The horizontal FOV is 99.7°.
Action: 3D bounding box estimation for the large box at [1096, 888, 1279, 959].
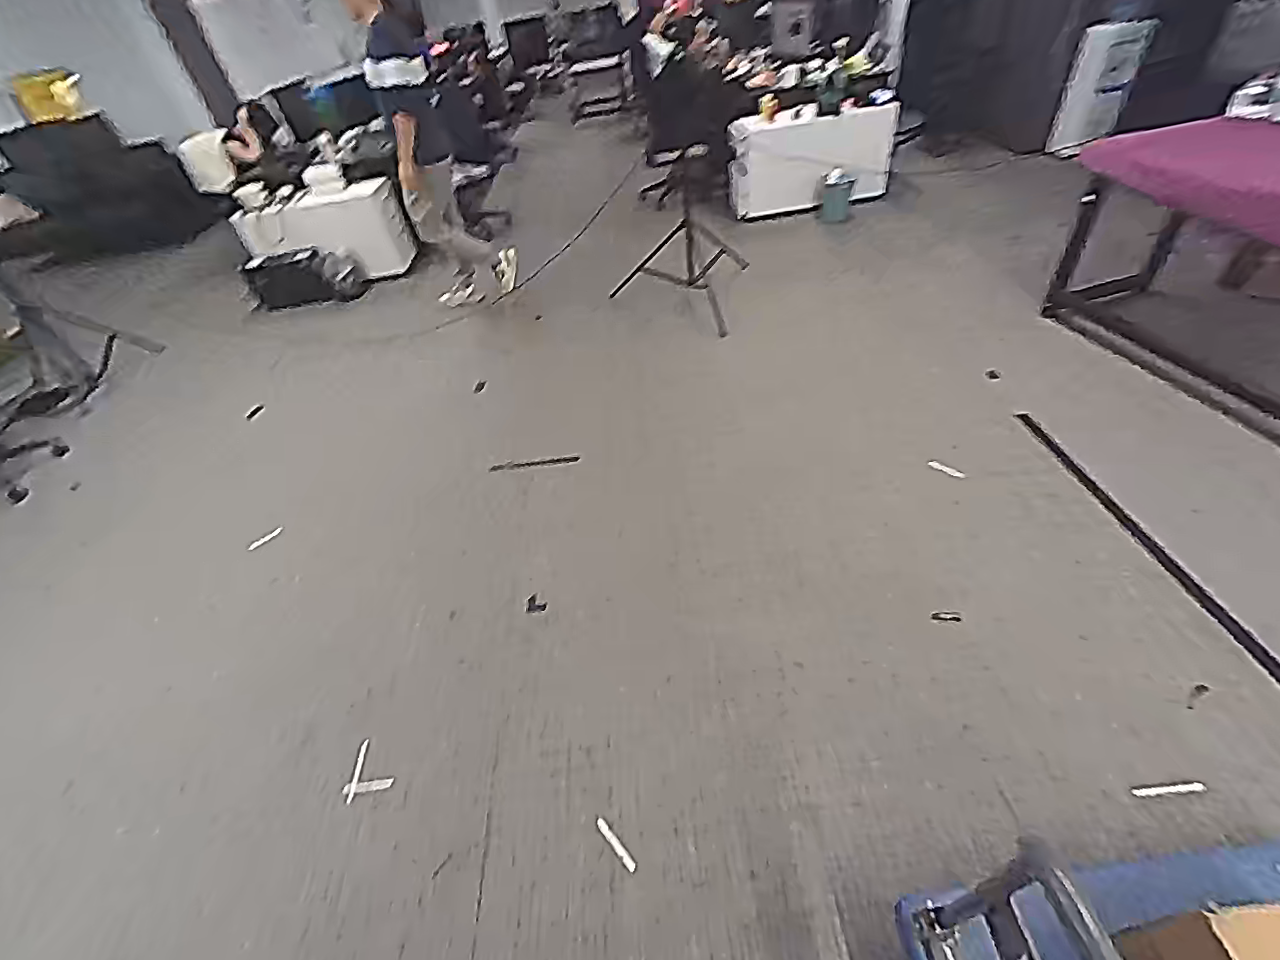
[{"bbox_3d":[0.940,0.804,0.701,0.320,0.320,0.408,-9,42,1],"label":"large box"}]
